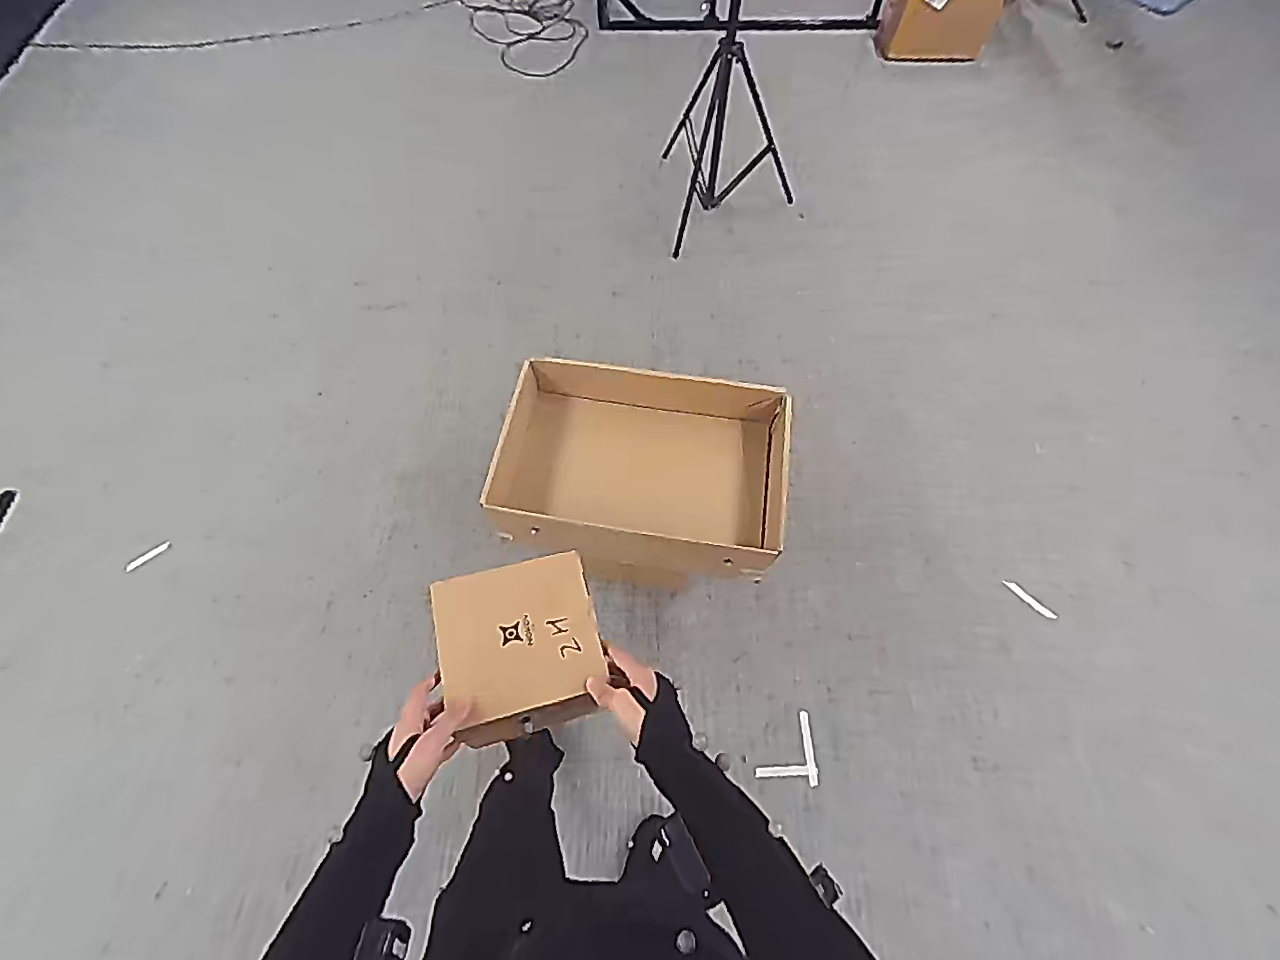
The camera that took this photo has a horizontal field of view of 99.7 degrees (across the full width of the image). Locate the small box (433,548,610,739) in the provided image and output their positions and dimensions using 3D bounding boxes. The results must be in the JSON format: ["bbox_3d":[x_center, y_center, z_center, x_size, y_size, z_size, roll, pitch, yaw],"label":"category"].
[{"bbox_3d":[-0.143,0.207,0.670,0.179,0.176,0.168,-11,61,-14],"label":"small box"}]
